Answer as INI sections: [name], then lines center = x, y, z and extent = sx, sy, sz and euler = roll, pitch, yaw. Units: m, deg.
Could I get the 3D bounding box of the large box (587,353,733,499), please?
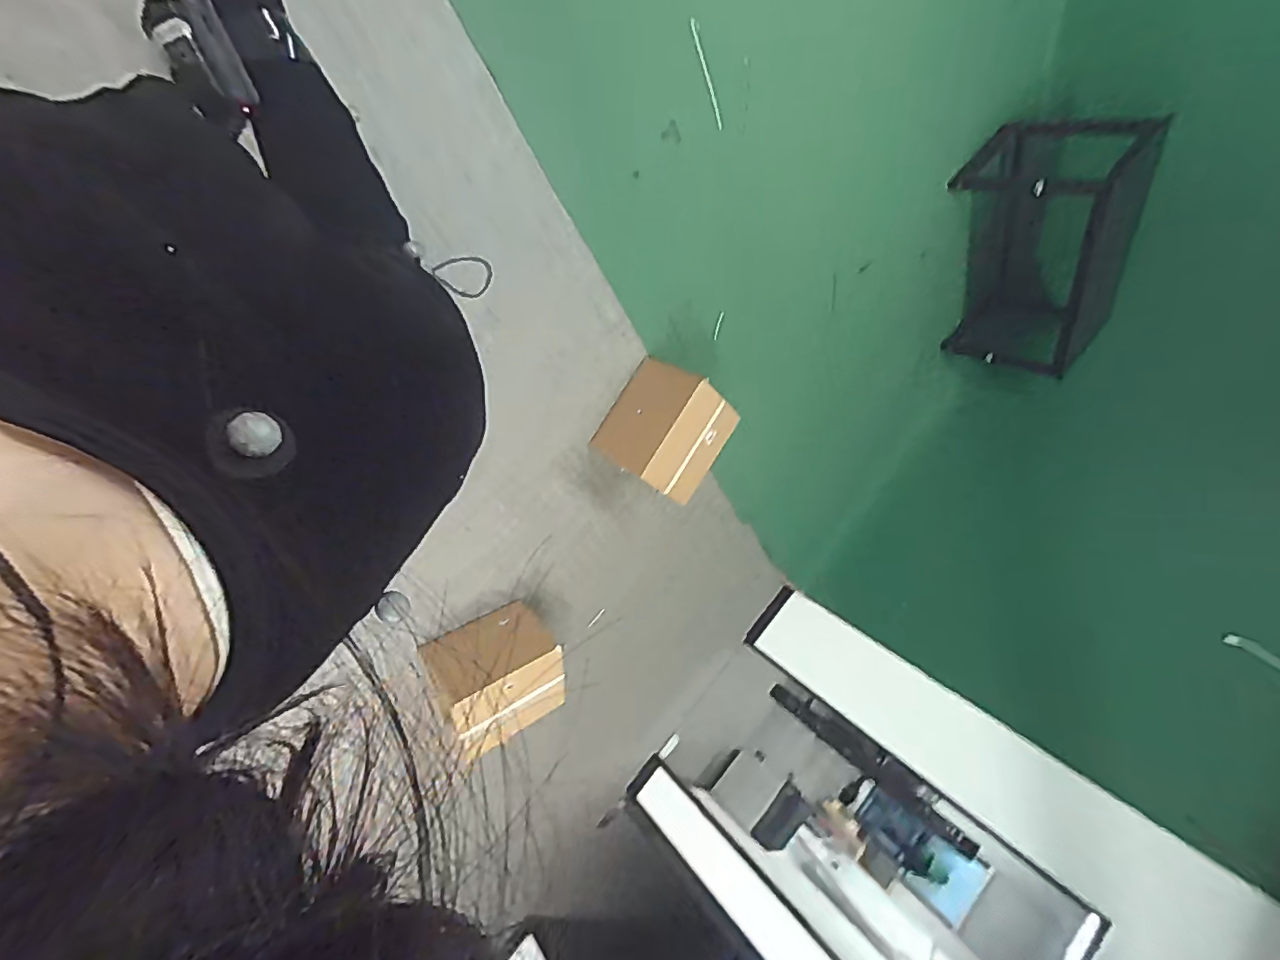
[large box]
center = 0.074, -0.203, 2.037
extent = 0.320, 0.320, 0.408
euler = 32, 89, -50
